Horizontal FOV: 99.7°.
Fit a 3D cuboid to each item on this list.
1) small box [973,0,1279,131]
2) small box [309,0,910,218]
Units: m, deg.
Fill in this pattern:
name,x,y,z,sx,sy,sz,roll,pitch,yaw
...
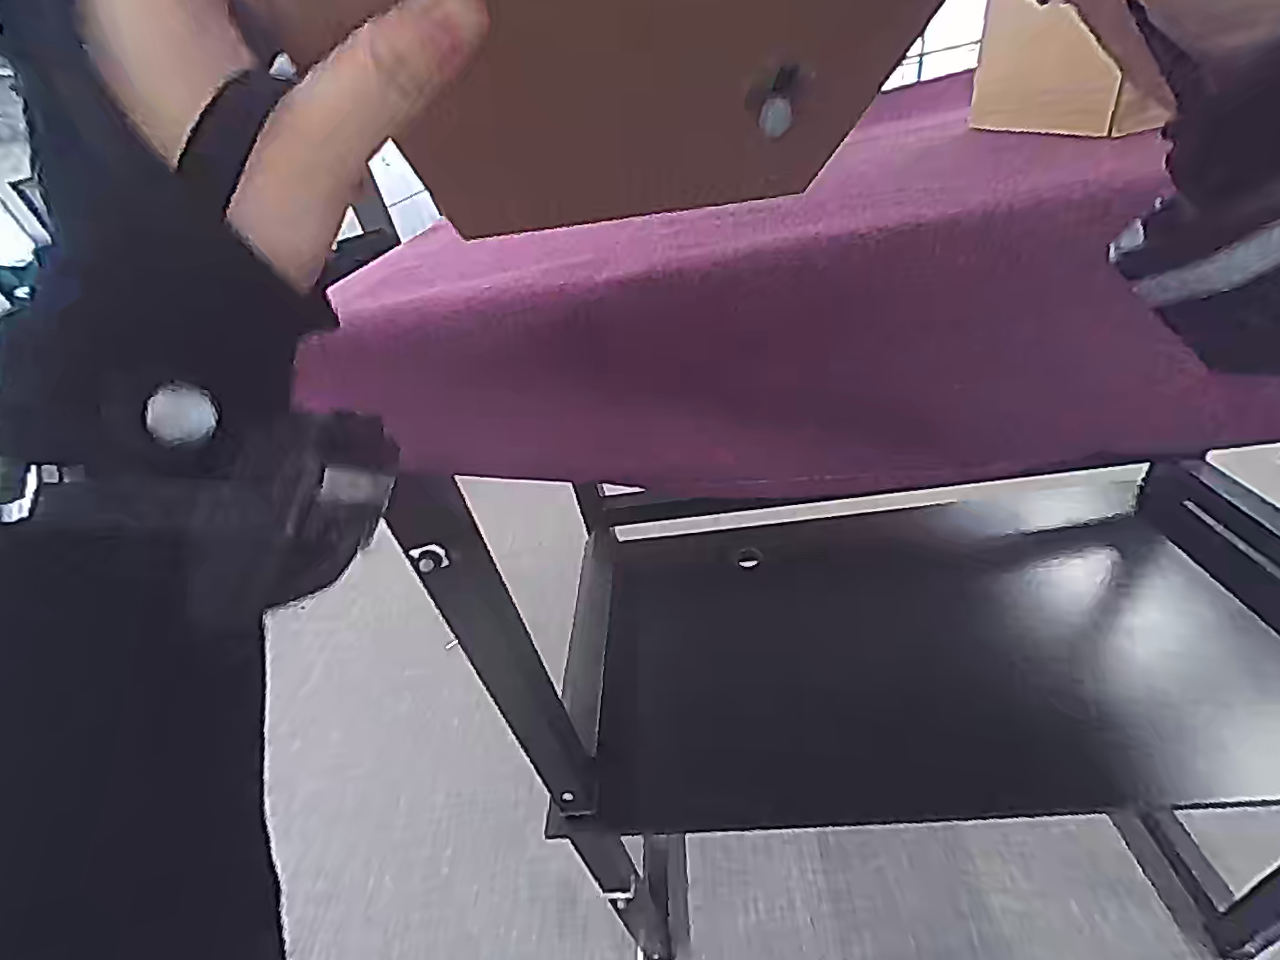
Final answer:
name,x,y,z,sx,sy,sz,roll,pitch,yaw
small box,0.372,-0.360,0.381,0.168,0.176,0.179,-11,34,3
small box,-0.011,-0.212,0.181,0.179,0.168,0.176,-9,2,-2
